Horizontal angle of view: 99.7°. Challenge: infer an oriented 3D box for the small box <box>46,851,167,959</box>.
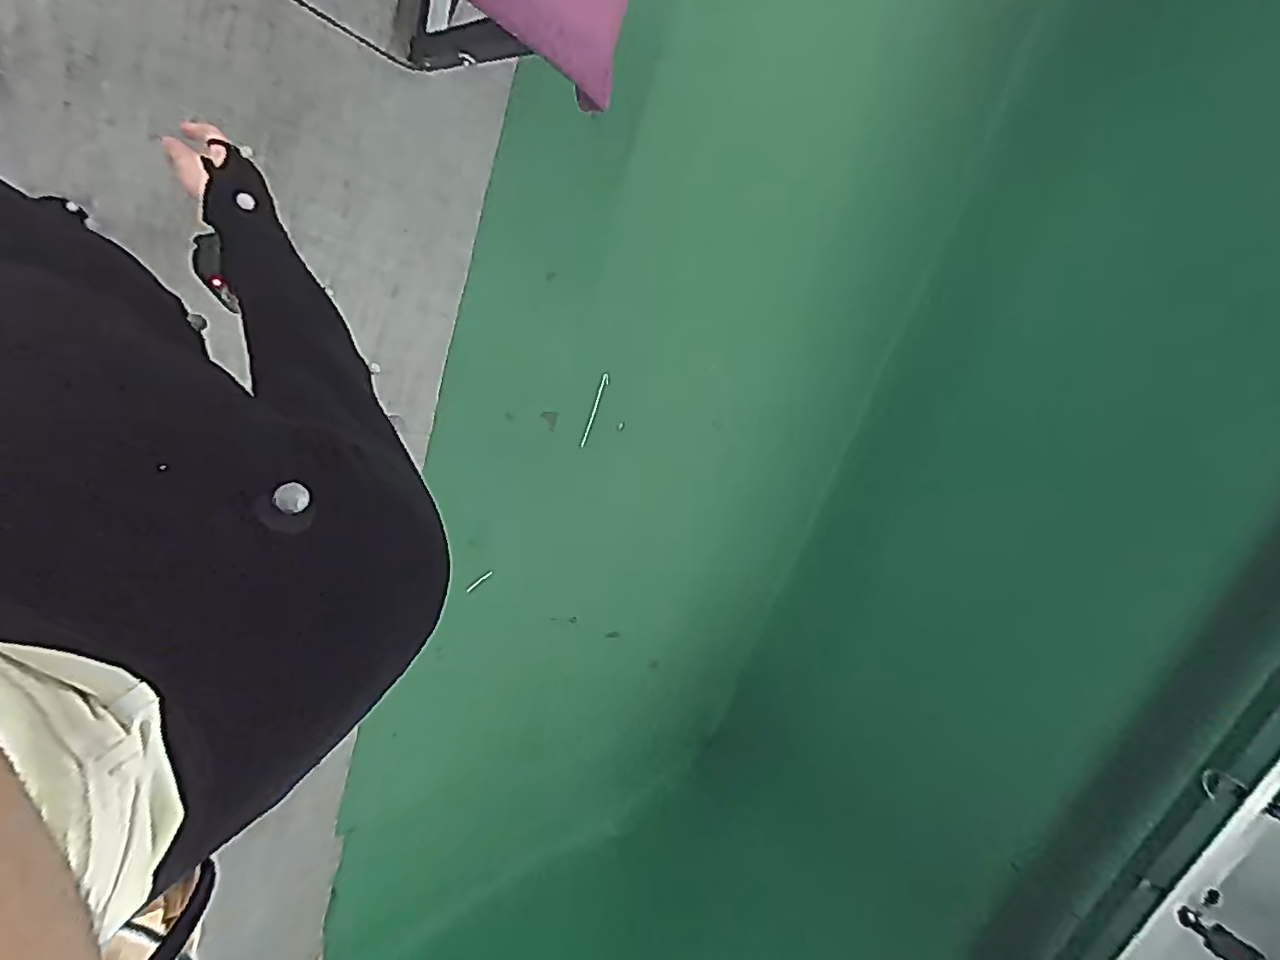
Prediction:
[{"bbox_3d":[-1.158,0.961,1.173,0.179,0.176,0.168,4,111,-45],"label":"small box"}]
